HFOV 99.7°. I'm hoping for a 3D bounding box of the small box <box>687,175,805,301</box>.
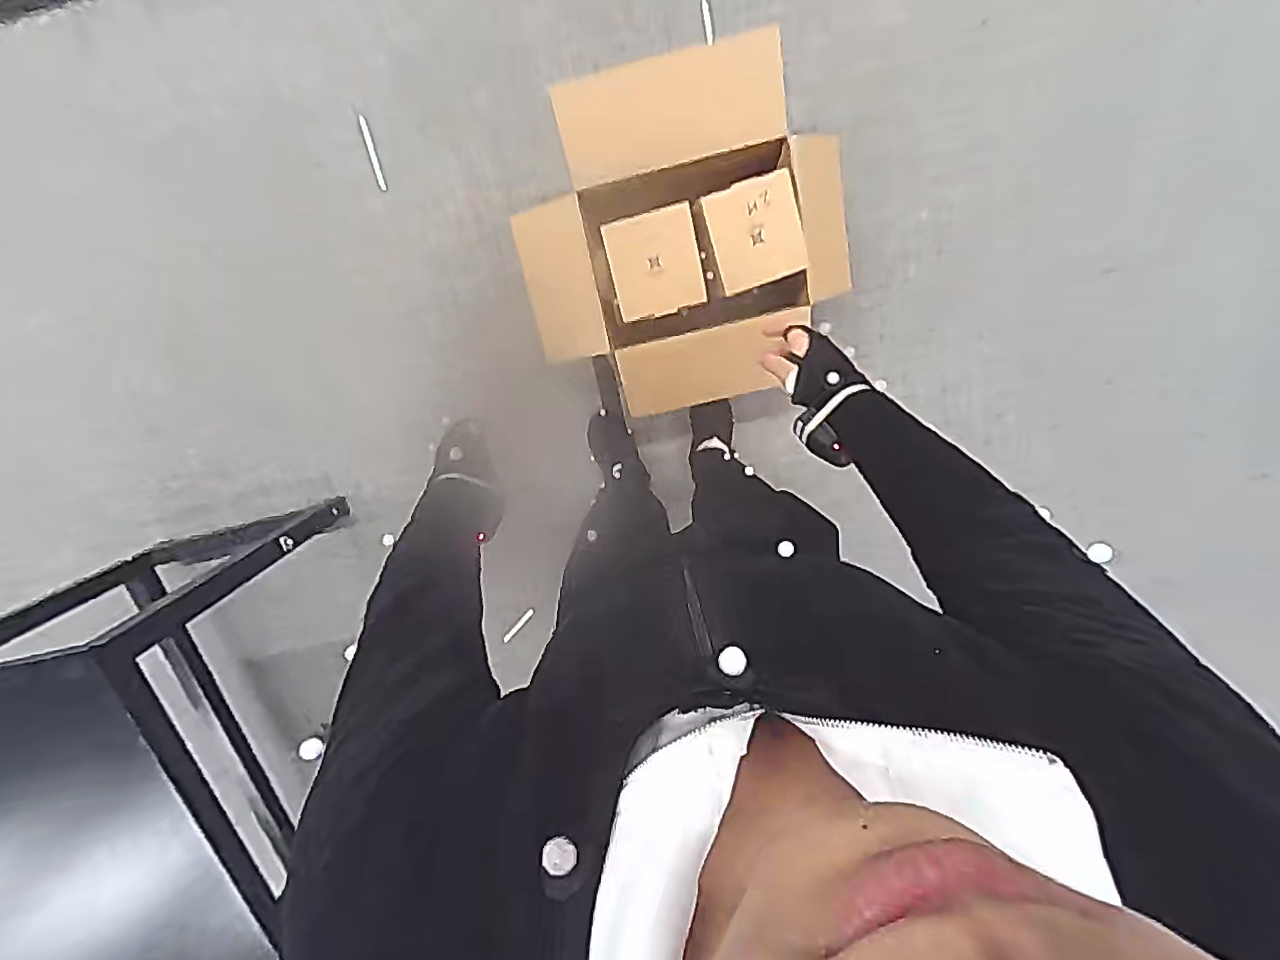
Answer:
[{"bbox_3d":[0.200,-0.461,1.058,0.168,0.176,0.179,-19,106,2],"label":"small box"}]
